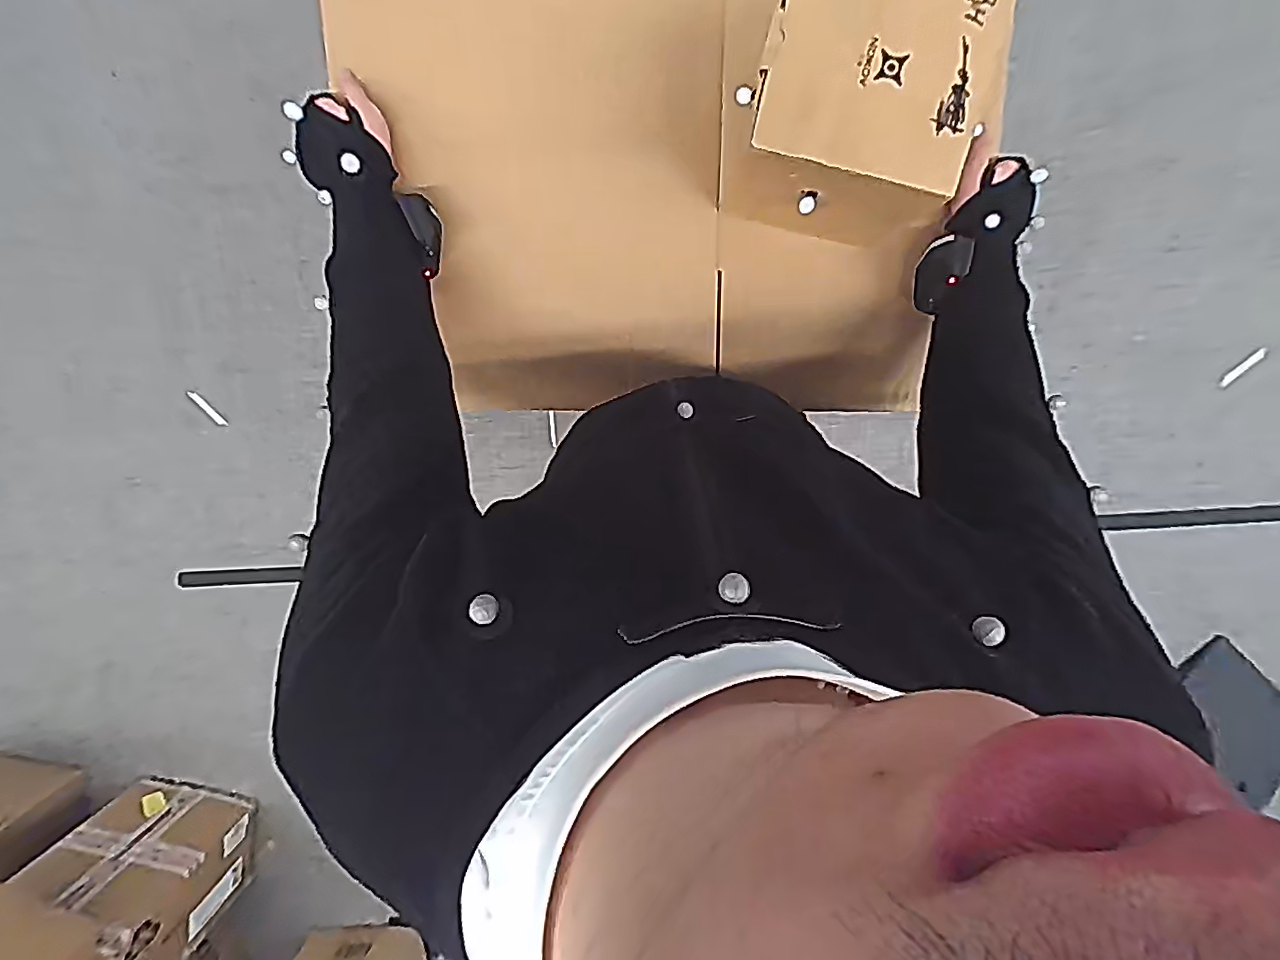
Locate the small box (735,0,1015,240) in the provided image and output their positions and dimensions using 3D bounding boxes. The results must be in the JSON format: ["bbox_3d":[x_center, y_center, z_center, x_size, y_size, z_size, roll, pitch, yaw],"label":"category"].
[{"bbox_3d":[0.199,-0.348,0.513,0.179,0.176,0.168,14,100,0],"label":"small box"}]
